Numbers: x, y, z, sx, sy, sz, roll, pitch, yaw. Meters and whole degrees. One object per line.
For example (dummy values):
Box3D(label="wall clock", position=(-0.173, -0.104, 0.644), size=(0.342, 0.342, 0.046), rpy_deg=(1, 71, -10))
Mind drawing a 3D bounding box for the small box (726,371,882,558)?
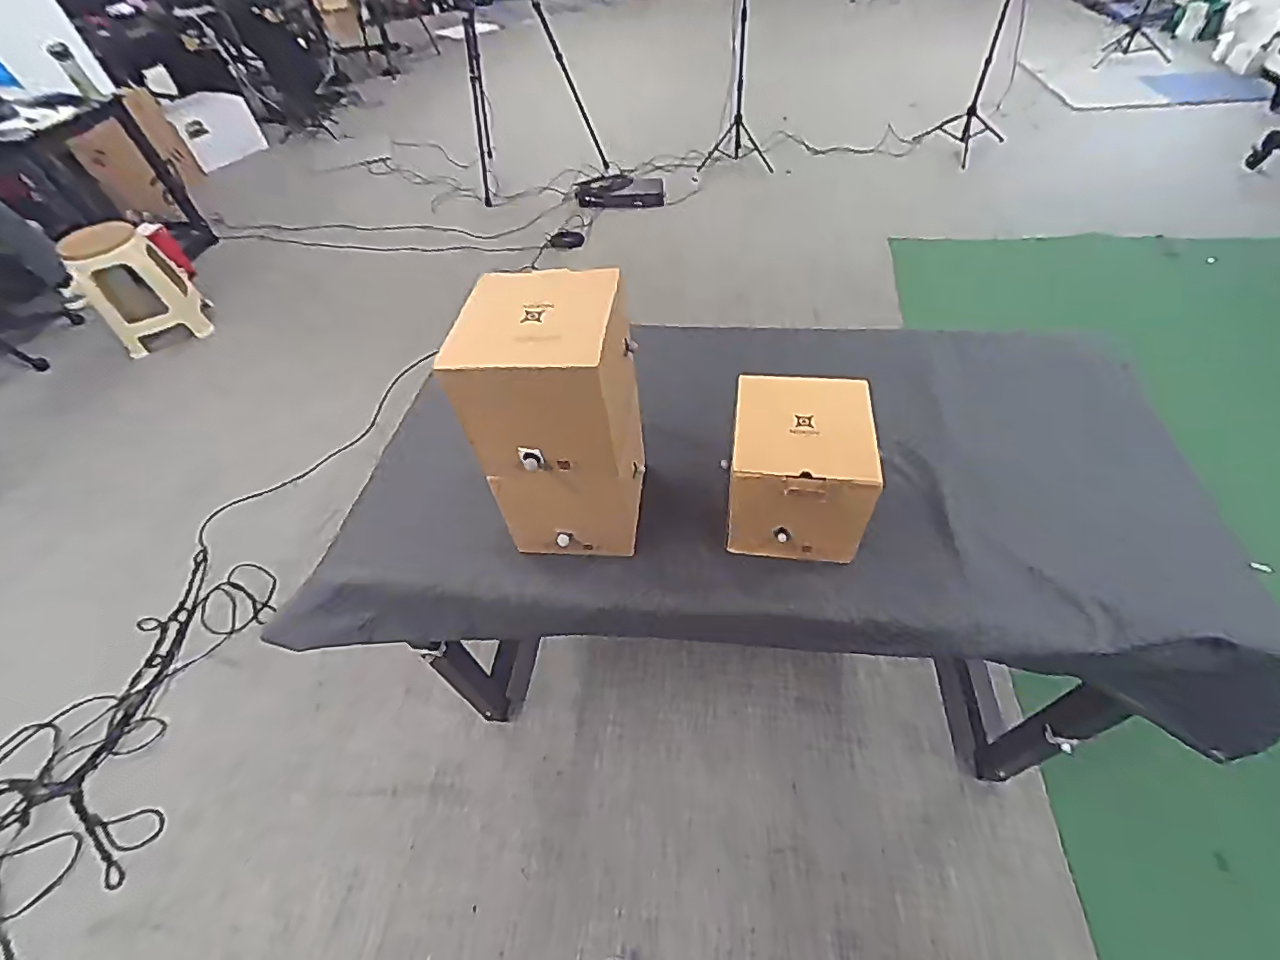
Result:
Box3D(label="small box", position=(0.203, -0.020, 0.714), size=(0.168, 0.176, 0.179), rpy_deg=(4, 51, 9))

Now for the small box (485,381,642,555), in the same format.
Box3D(label="small box", position=(-0.090, -0.019, 0.740), size=(0.168, 0.176, 0.179), rpy_deg=(1, 51, 7))

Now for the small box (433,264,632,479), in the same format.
Box3D(label="small box", position=(-0.103, -0.122, 0.615), size=(0.168, 0.176, 0.179), rpy_deg=(0, 51, 7))
